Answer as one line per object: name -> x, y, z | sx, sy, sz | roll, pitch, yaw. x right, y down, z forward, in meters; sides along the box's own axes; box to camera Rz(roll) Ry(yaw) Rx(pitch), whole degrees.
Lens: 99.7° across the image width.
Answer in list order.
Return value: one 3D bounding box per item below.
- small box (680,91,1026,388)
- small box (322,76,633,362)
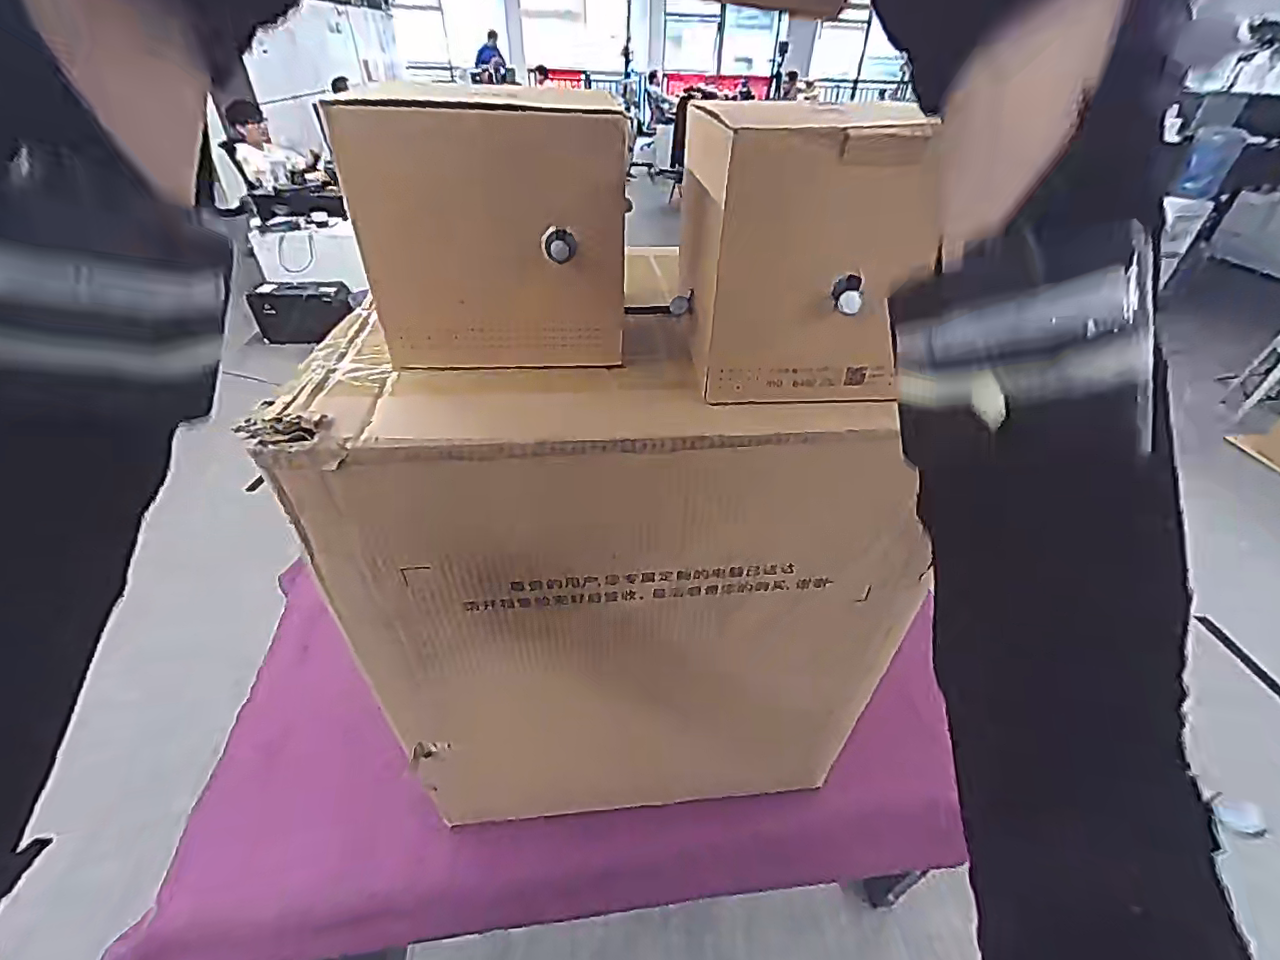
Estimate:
small box -> 0.124, -0.179, 0.402 | 0.168, 0.176, 0.179 | -1, 39, -4
small box -> -0.101, -0.201, 0.420 | 0.179, 0.176, 0.168 | -3, 38, -6
